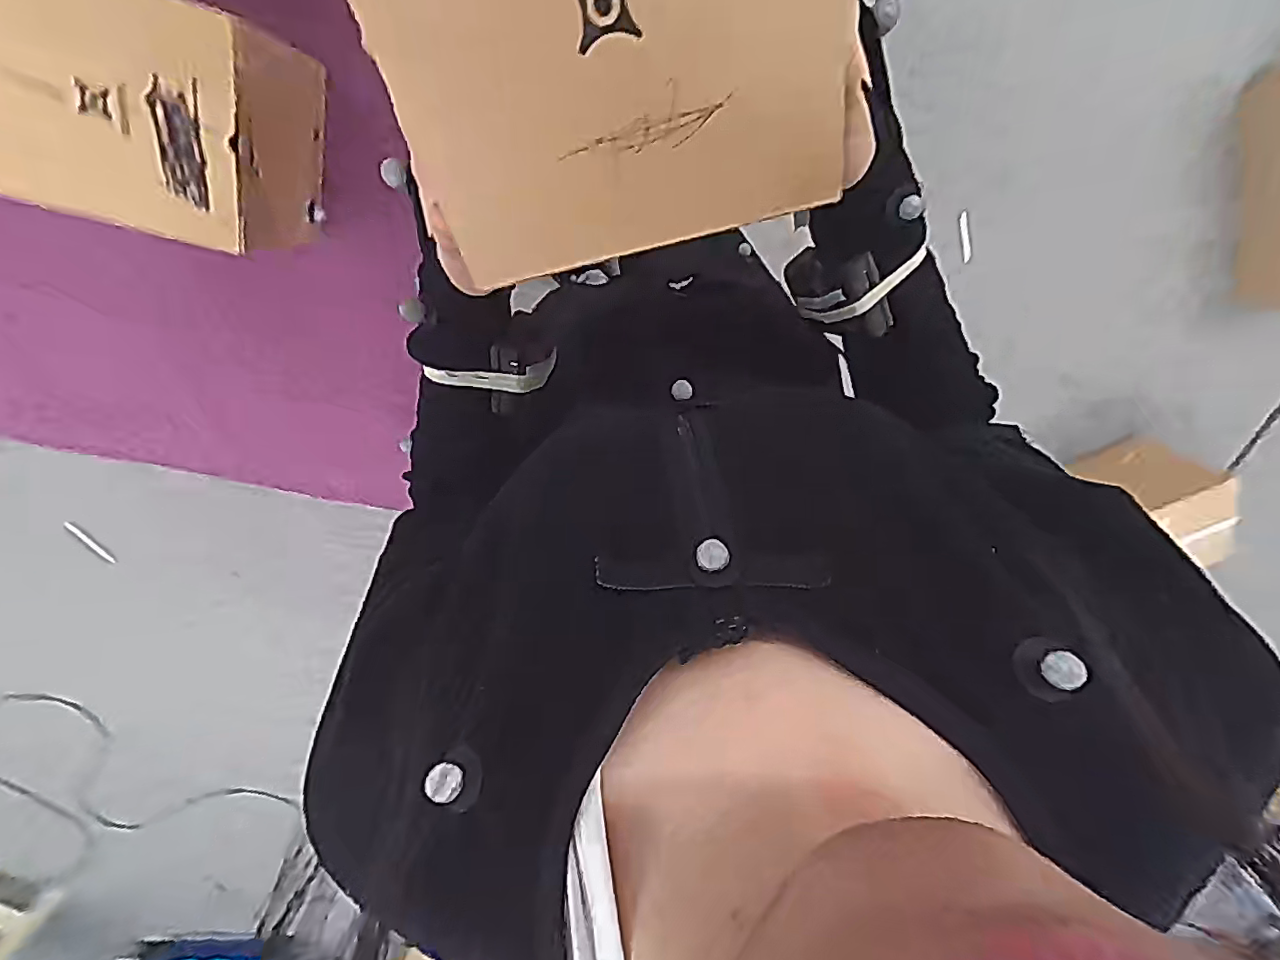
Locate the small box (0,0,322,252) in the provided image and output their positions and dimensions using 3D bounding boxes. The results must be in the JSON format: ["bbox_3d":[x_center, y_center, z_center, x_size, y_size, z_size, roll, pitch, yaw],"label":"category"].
[{"bbox_3d":[-0.401,-0.313,0.470,0.179,0.176,0.168,11,114,-13],"label":"small box"}]

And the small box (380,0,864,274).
[{"bbox_3d":[-0.010,-0.222,0.240,0.168,0.176,0.179,-10,132,7],"label":"small box"}]
